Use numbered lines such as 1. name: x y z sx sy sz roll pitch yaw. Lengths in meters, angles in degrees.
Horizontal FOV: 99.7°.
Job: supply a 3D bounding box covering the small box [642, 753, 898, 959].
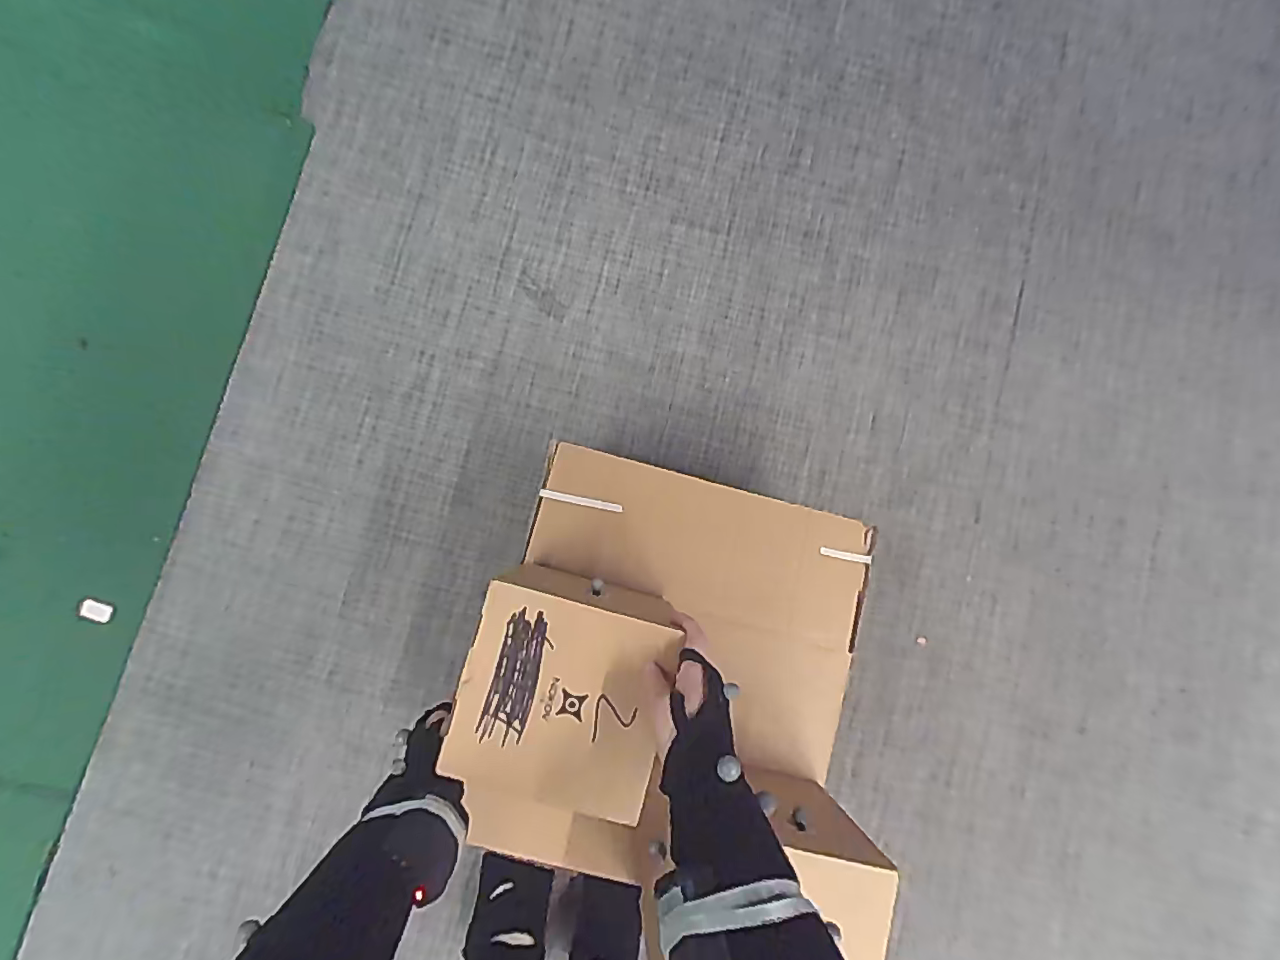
1. small box: 0.110 0.392 0.523 0.179 0.176 0.168 16 82 -2
